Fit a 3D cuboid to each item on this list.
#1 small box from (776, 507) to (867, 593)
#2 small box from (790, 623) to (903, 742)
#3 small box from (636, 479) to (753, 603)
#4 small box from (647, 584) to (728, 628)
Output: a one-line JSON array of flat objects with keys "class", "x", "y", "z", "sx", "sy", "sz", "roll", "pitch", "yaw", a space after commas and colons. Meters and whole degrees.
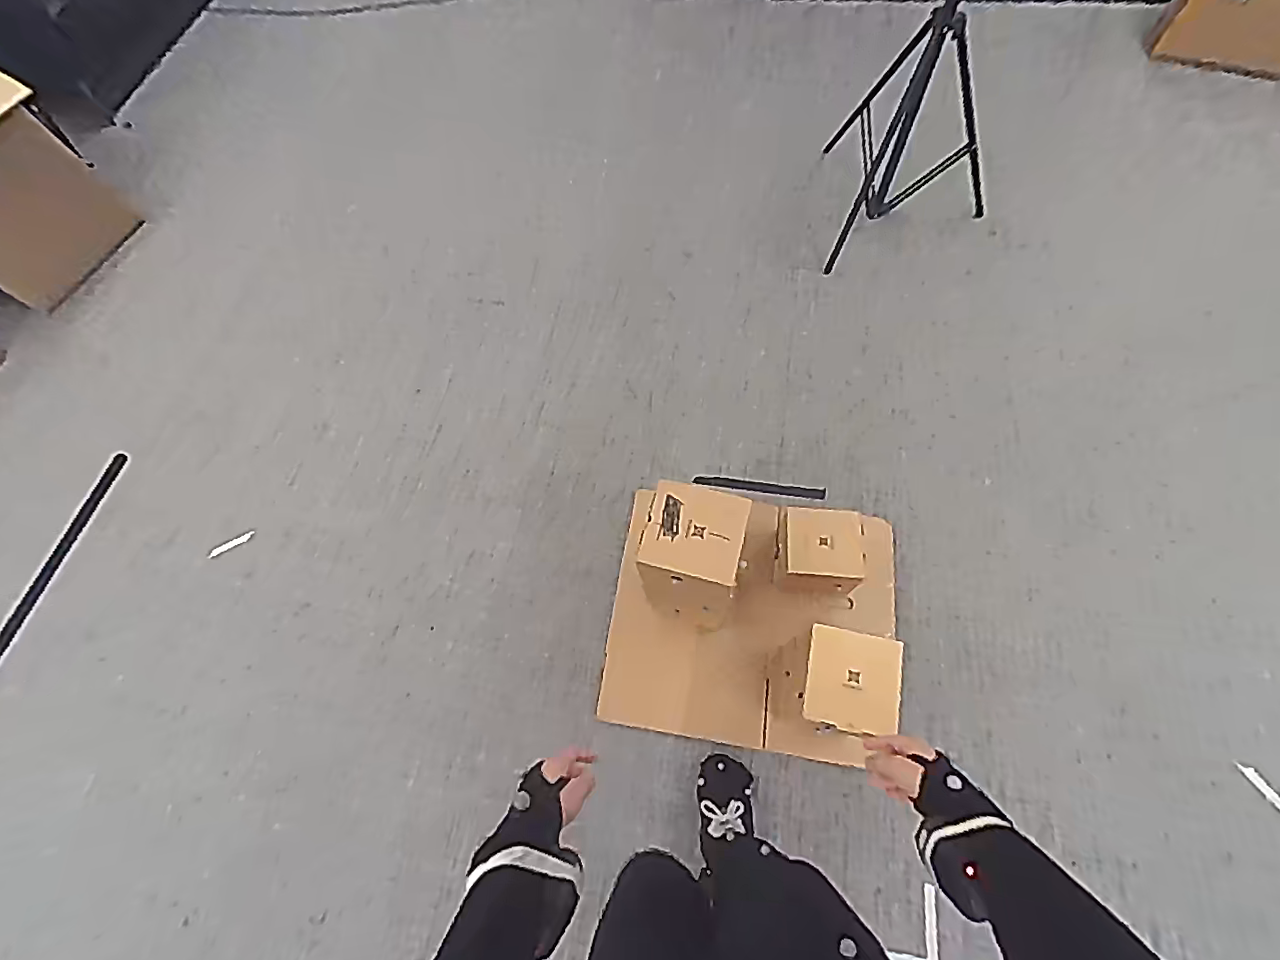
[{"class": "small box", "x": 0.438, "y": 0.177, "z": 1.330, "sx": 0.179, "sy": 0.176, "sz": 0.168, "roll": 3, "pitch": 66, "yaw": 6}, {"class": "small box", "x": 0.397, "y": 0.395, "z": 1.057, "sx": 0.168, "sy": 0.176, "sz": 0.179, "roll": 11, "pitch": 69, "yaw": 10}, {"class": "small box", "x": 0.104, "y": 0.121, "z": 1.022, "sx": 0.179, "sy": 0.176, "sz": 0.168, "roll": 14, "pitch": 68, "yaw": 11}, {"class": "small box", "x": 0.131, "y": 0.251, "z": 1.323, "sx": 0.179, "sy": 0.176, "sz": 0.168, "roll": 15, "pitch": 69, "yaw": 13}]
